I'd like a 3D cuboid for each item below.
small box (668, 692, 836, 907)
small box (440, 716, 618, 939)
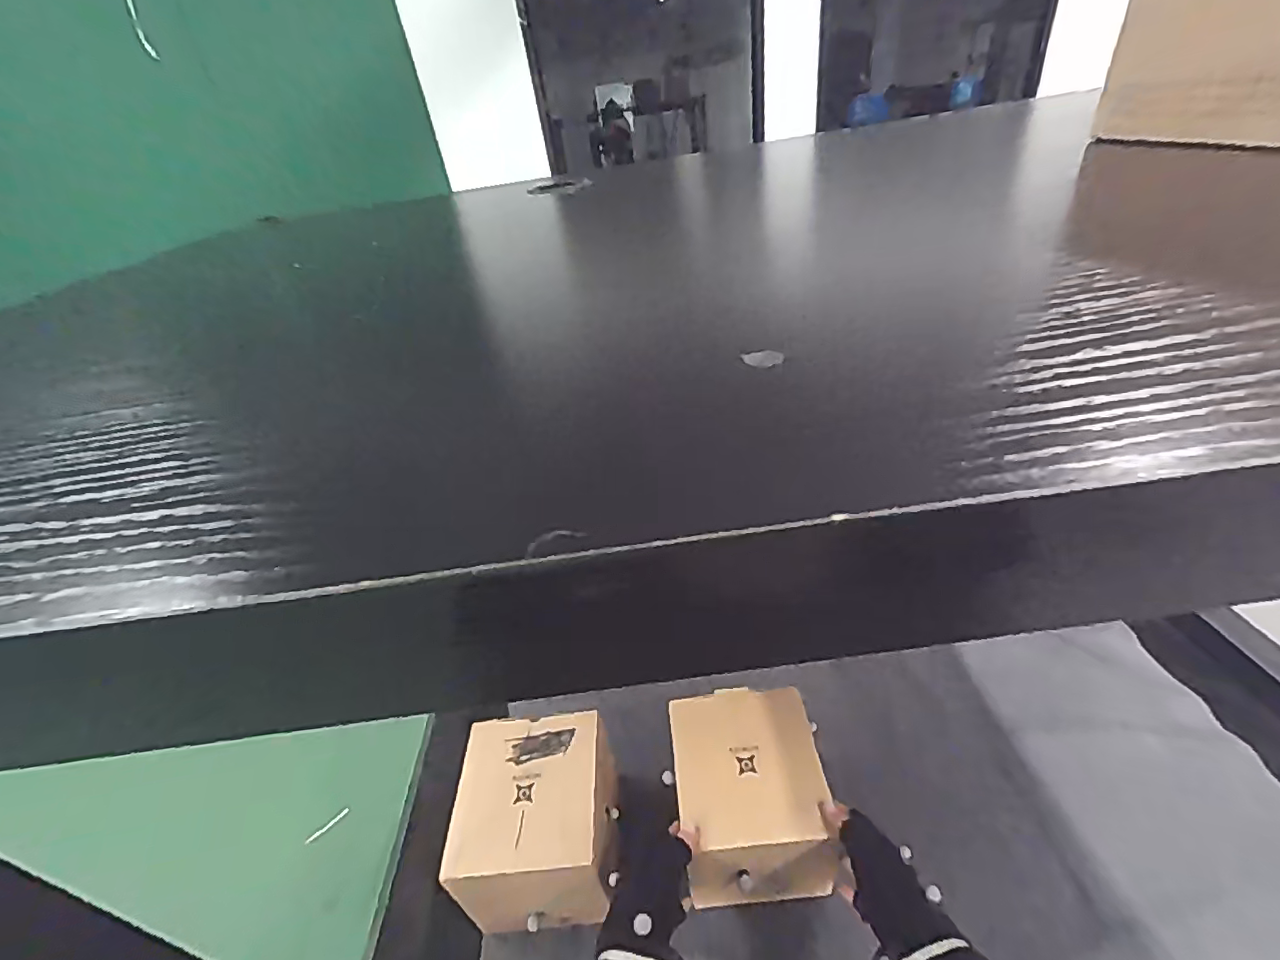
[{"bbox_3d":[0.129,0.394,0.665,0.168,0.176,0.179,-7,34,2],"label":"small box"},{"bbox_3d":[-0.121,0.427,0.671,0.168,0.176,0.179,-8,34,2],"label":"small box"}]
